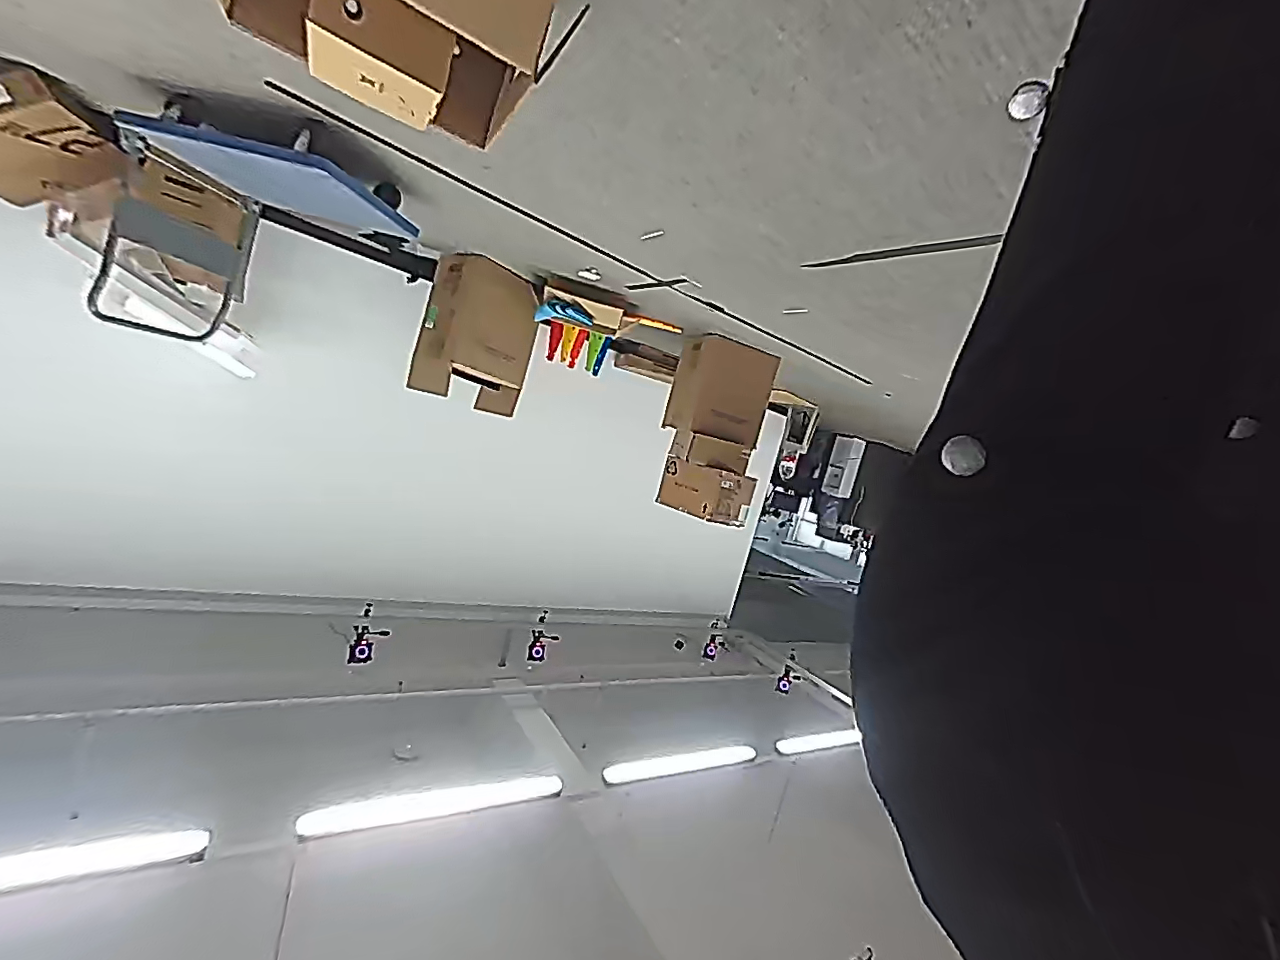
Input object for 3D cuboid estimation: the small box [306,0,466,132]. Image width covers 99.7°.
[{"bbox_3d":[-0.376,-0.671,0.803,0.179,0.176,0.168,12,-174,-32],"label":"small box"}]
